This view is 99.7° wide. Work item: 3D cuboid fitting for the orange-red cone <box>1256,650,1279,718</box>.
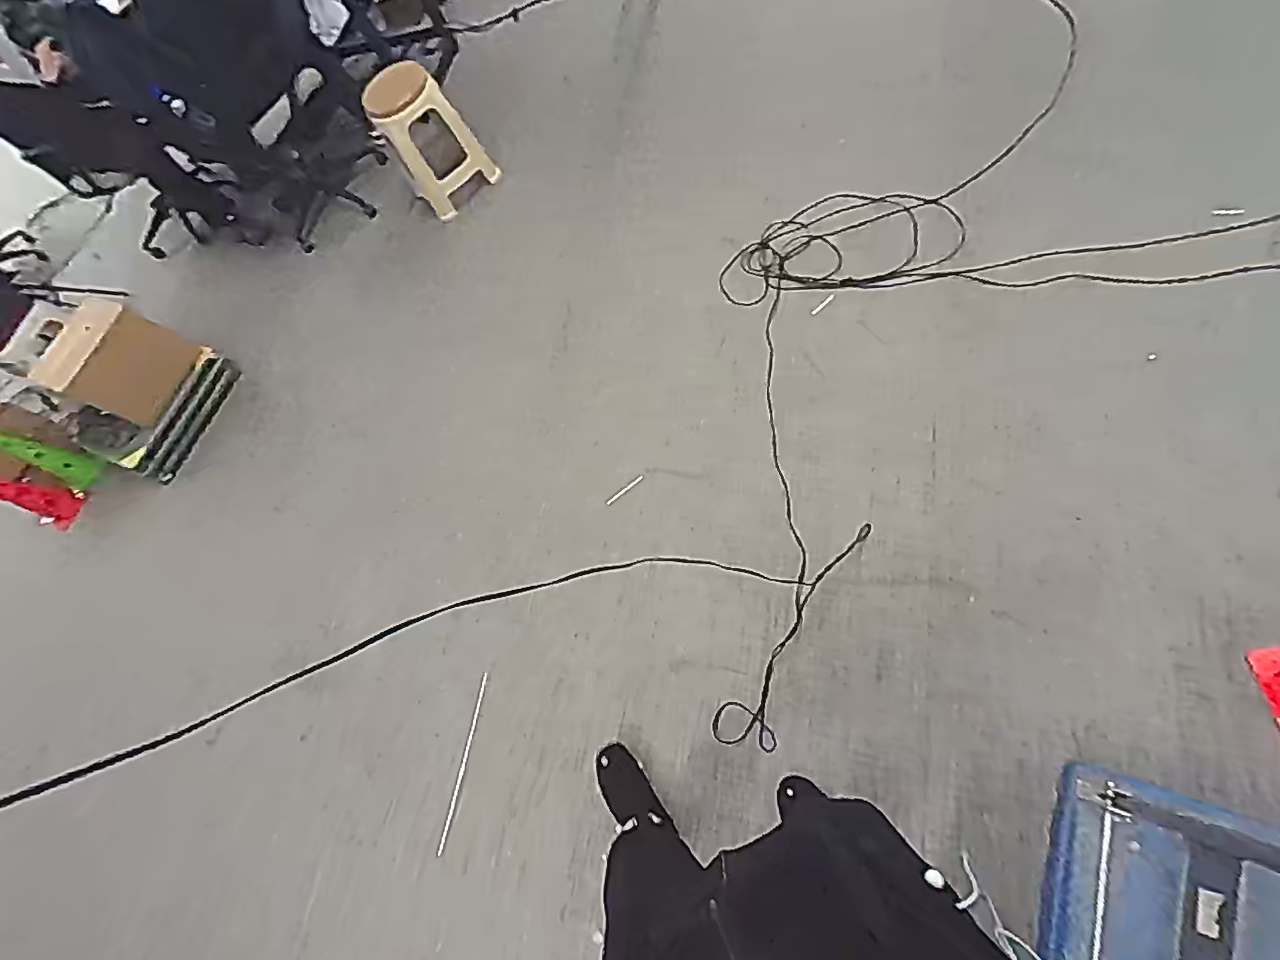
[{"bbox_3d":[1.357,0.379,0.944,0.198,0.360,0.199,-8,65,13],"label":"orange-red cone"}]
